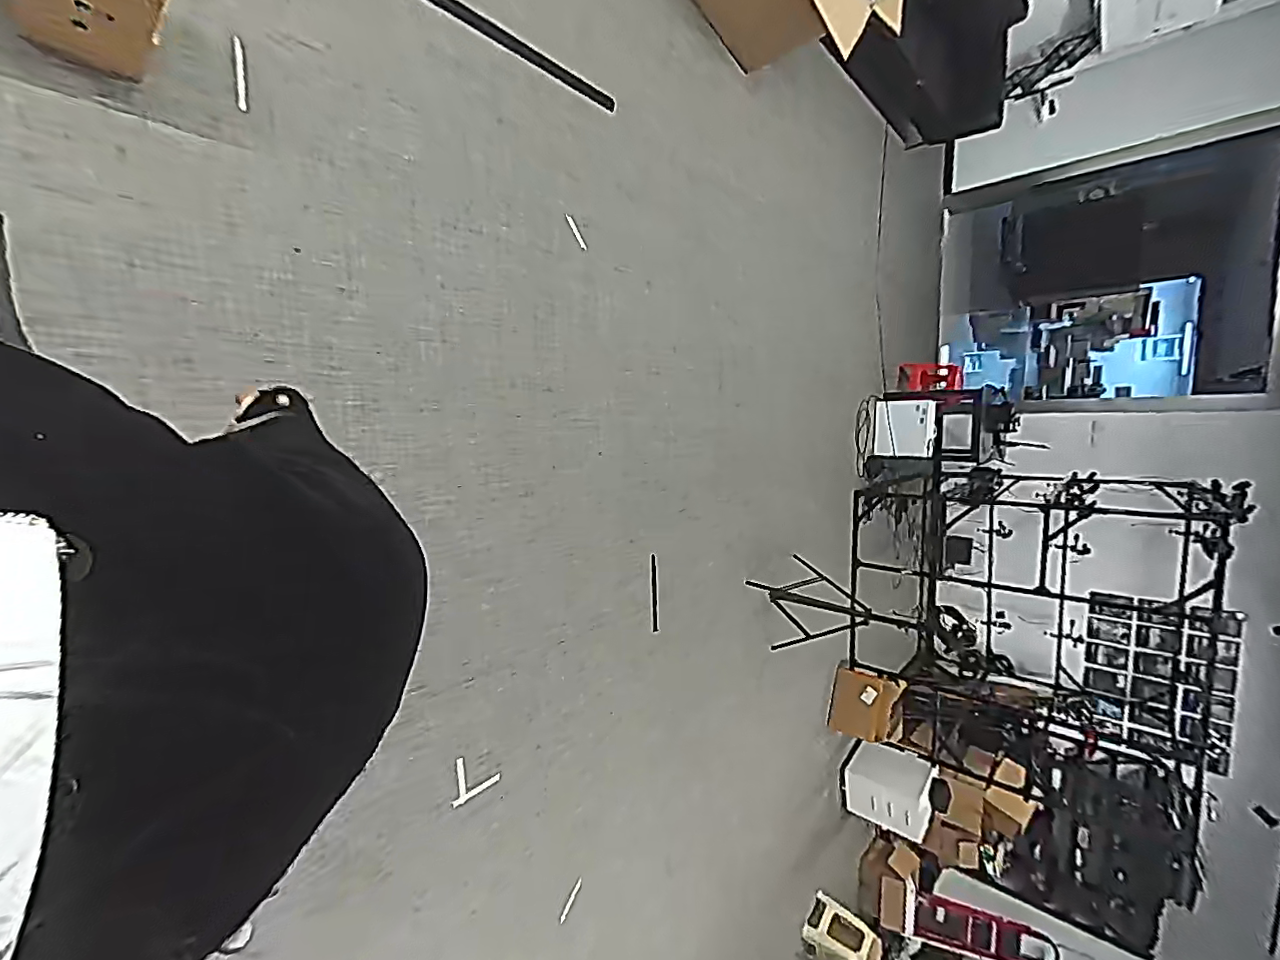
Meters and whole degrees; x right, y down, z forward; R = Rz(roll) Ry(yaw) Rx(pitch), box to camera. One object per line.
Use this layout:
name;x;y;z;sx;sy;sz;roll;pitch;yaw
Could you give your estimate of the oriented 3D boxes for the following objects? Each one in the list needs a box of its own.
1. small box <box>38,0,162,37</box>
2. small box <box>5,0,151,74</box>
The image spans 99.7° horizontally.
small box;-0.894;-0.873;0.863;0.168;0.176;0.179;-10;103;-47
small box;-1.013;-0.883;0.973;0.179;0.176;0.168;-4;97;-50
